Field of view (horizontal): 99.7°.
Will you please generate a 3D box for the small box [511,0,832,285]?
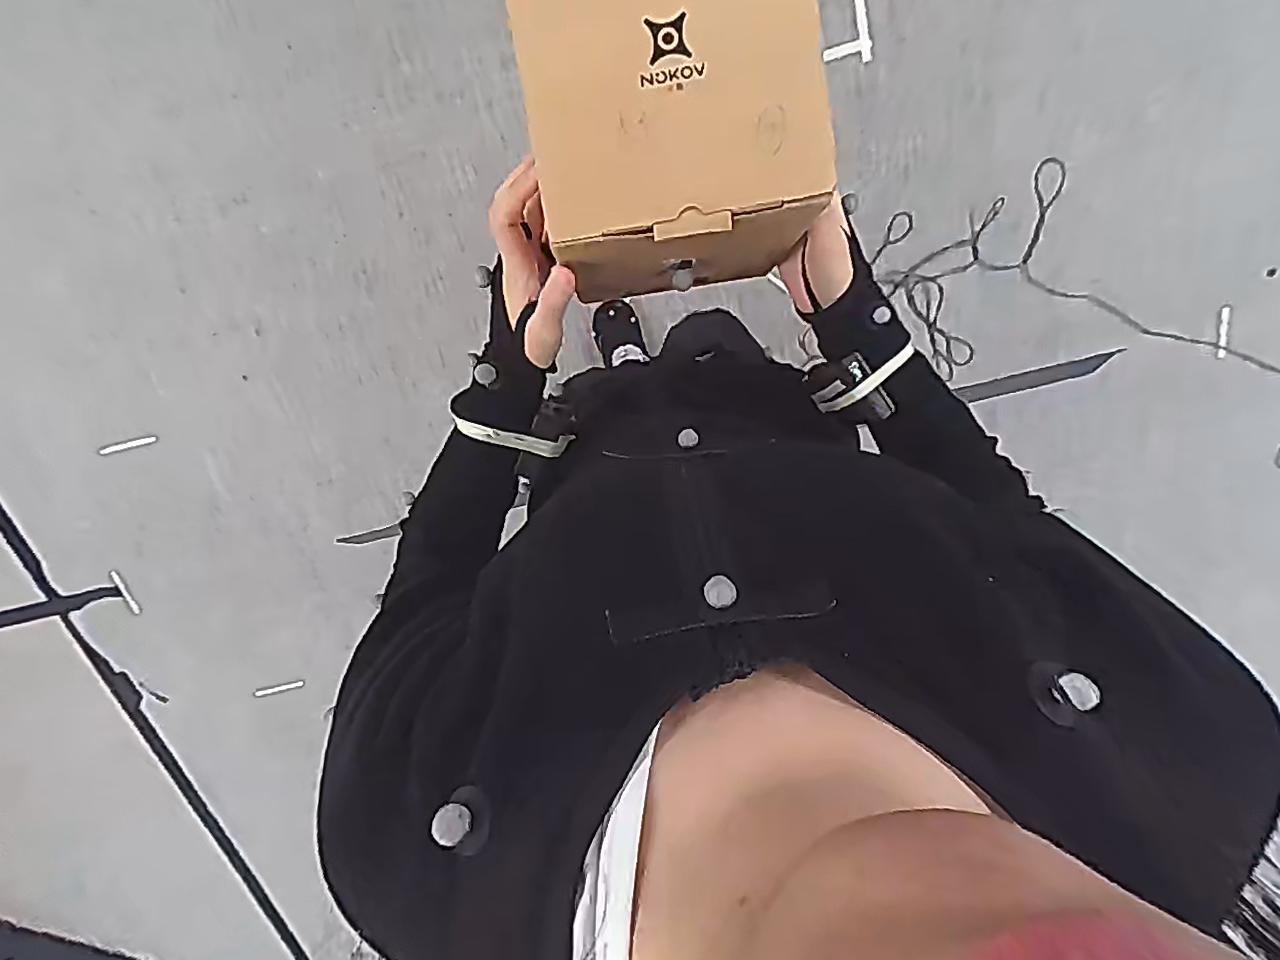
[{"bbox_3d":[0.018,-0.244,0.373,0.168,0.176,0.179,-9,98,1],"label":"small box"}]
